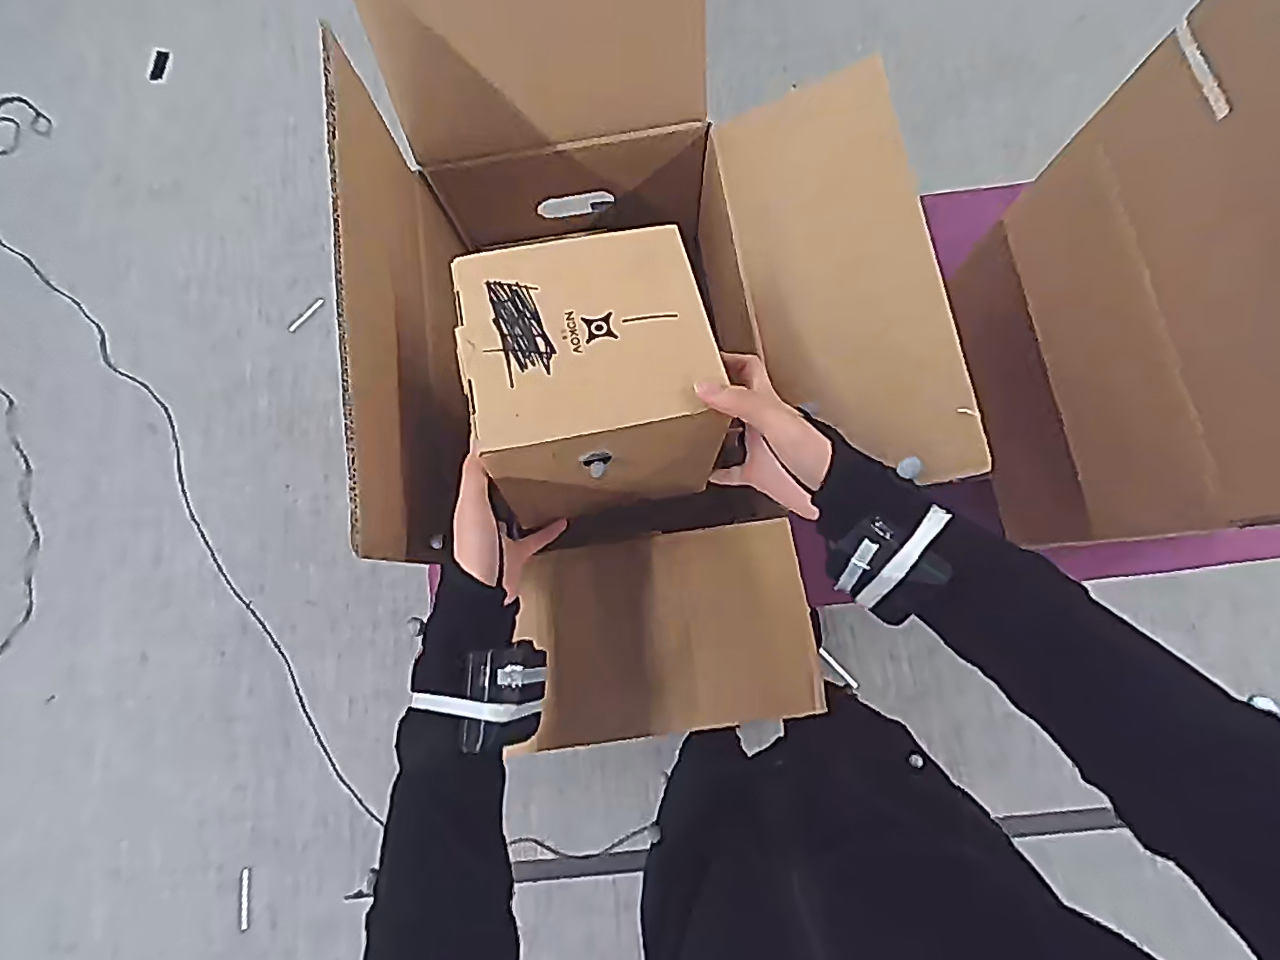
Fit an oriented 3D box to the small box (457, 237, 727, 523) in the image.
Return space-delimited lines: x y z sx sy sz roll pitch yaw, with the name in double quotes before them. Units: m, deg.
"small box" -0.041 -0.074 0.468 0.179 0.176 0.168 -11 69 -7
